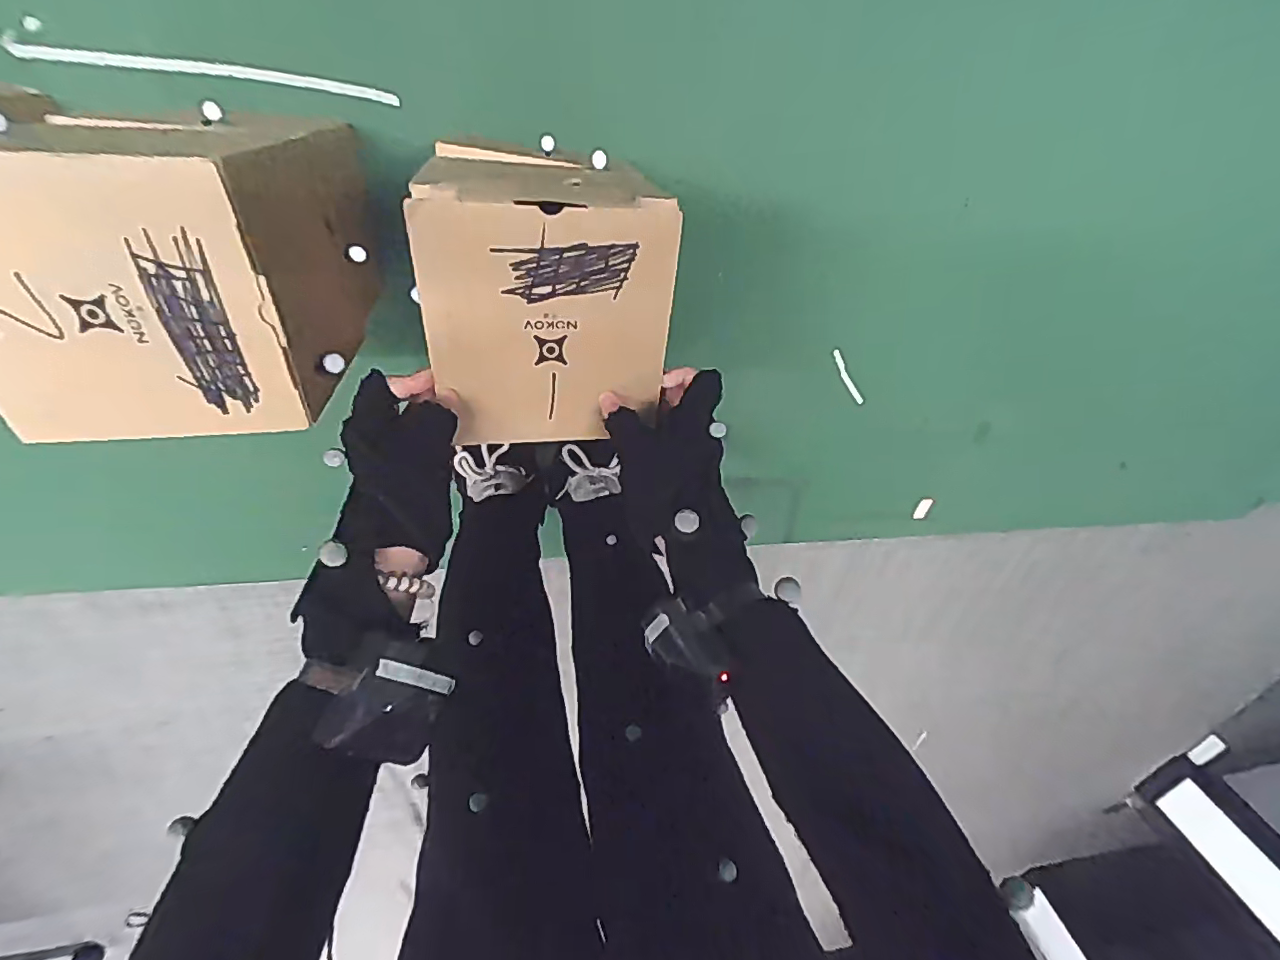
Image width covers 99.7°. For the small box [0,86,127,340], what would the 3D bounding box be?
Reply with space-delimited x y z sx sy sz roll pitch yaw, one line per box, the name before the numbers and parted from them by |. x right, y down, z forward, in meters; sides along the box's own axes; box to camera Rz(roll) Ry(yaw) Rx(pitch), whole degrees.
small box | -0.607 -0.242 0.467 0.168 0.176 0.179 3 124 -14

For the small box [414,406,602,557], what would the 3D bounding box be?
small box | -0.179 -0.032 0.735 0.179 0.176 0.168 36 123 -12

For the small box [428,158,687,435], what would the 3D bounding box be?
small box | -0.071 -0.155 0.443 0.168 0.176 0.179 -3 125 -12

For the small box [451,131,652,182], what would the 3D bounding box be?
small box | -0.100 -0.257 0.569 0.179 0.176 0.168 1 124 -14
